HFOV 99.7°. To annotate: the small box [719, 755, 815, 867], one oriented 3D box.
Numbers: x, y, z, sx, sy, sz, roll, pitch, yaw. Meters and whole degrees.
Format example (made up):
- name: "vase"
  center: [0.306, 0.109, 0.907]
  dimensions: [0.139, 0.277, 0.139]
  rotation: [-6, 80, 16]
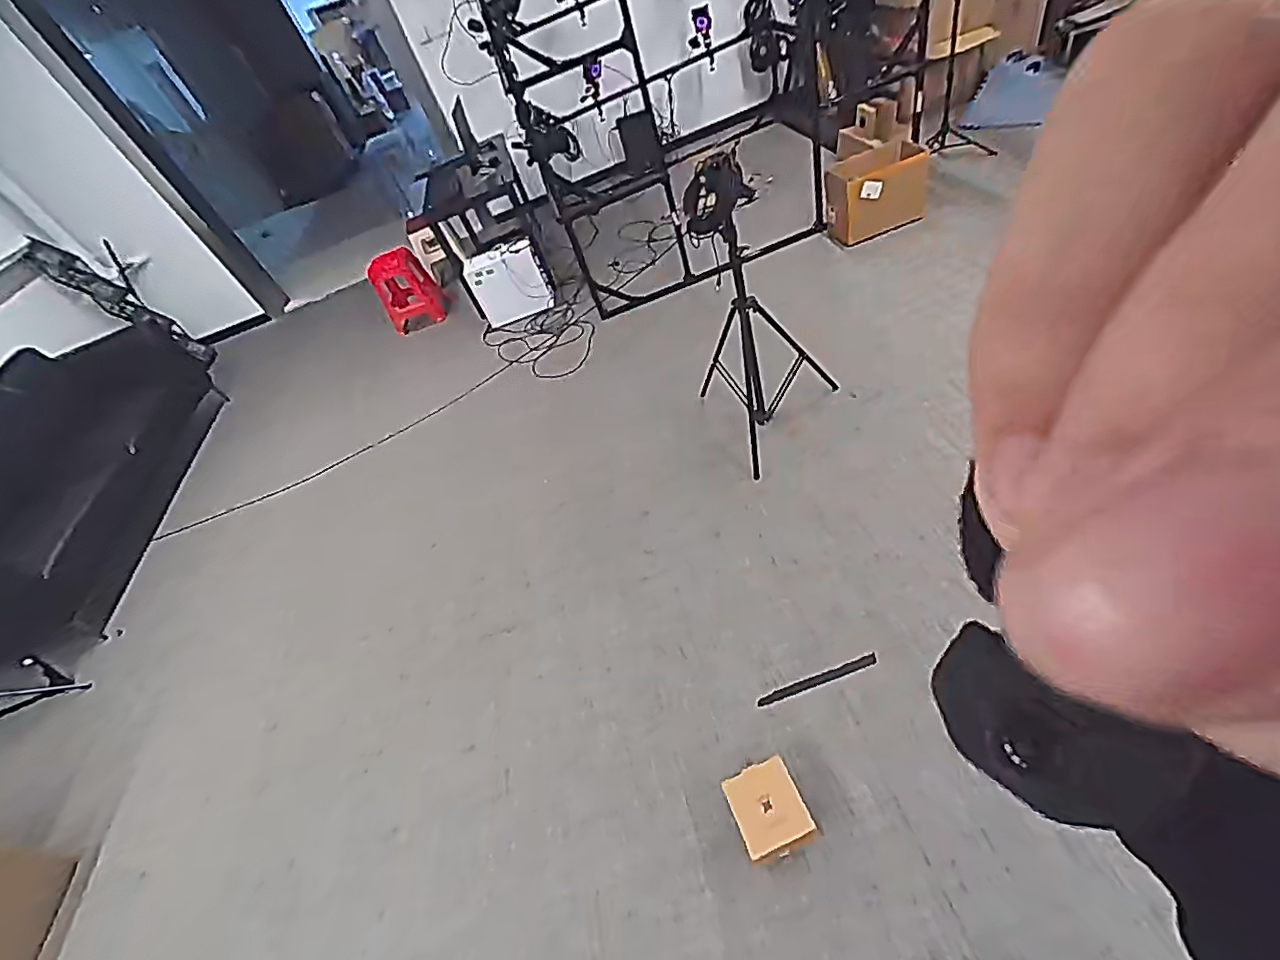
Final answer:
- name: "small box"
  center: [0.318, 0.827, 1.346]
  dimensions: [0.168, 0.176, 0.179]
  rotation: [-26, 45, -1]
